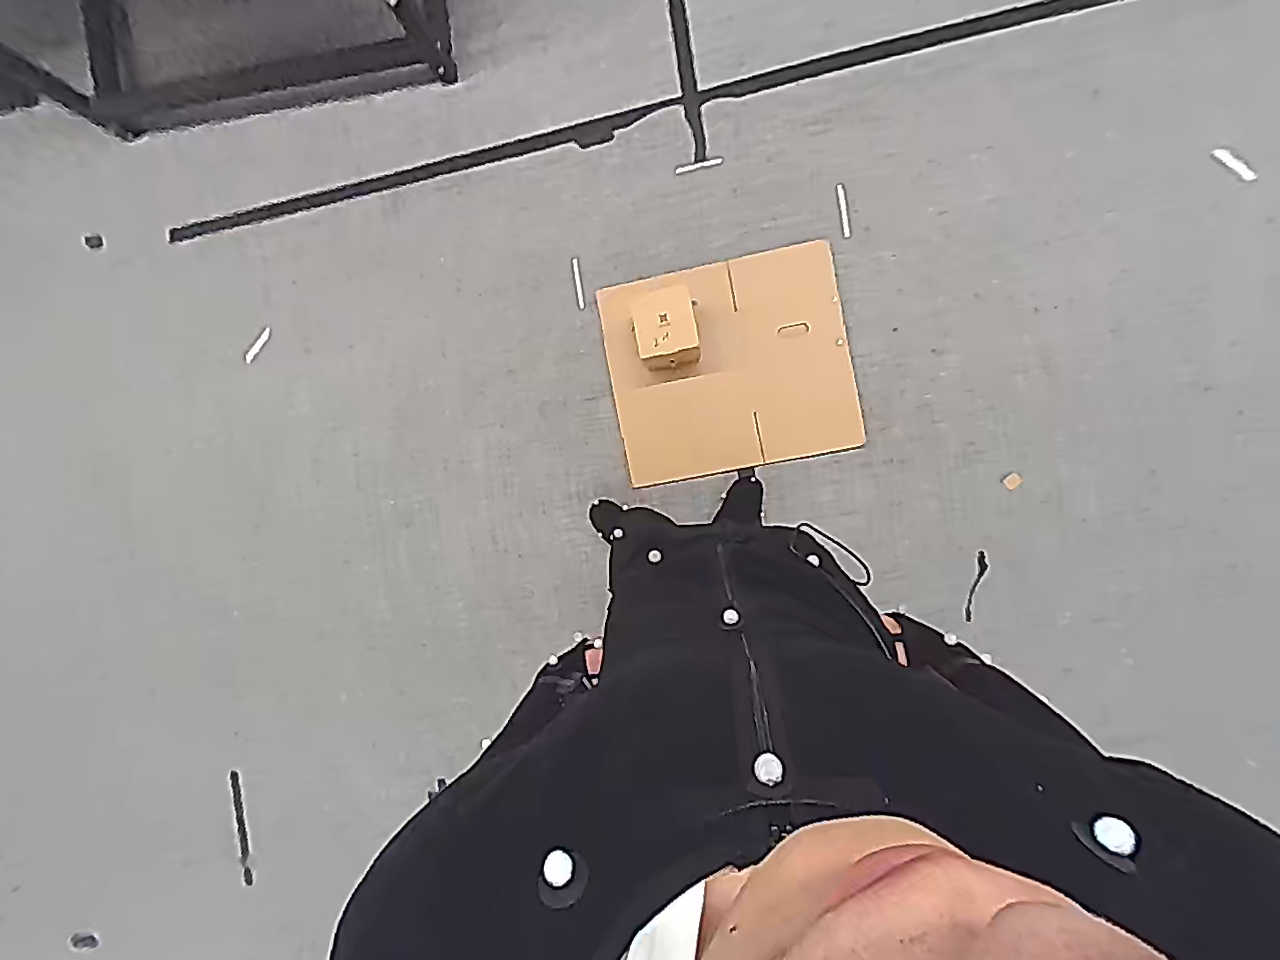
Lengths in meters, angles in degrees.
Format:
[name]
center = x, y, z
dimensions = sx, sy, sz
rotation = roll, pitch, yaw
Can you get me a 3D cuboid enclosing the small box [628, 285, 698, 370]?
[small box]
center = 0.069, -0.425, 1.529
dimensions = 0.168, 0.176, 0.179
rotation = -11, 91, 8
